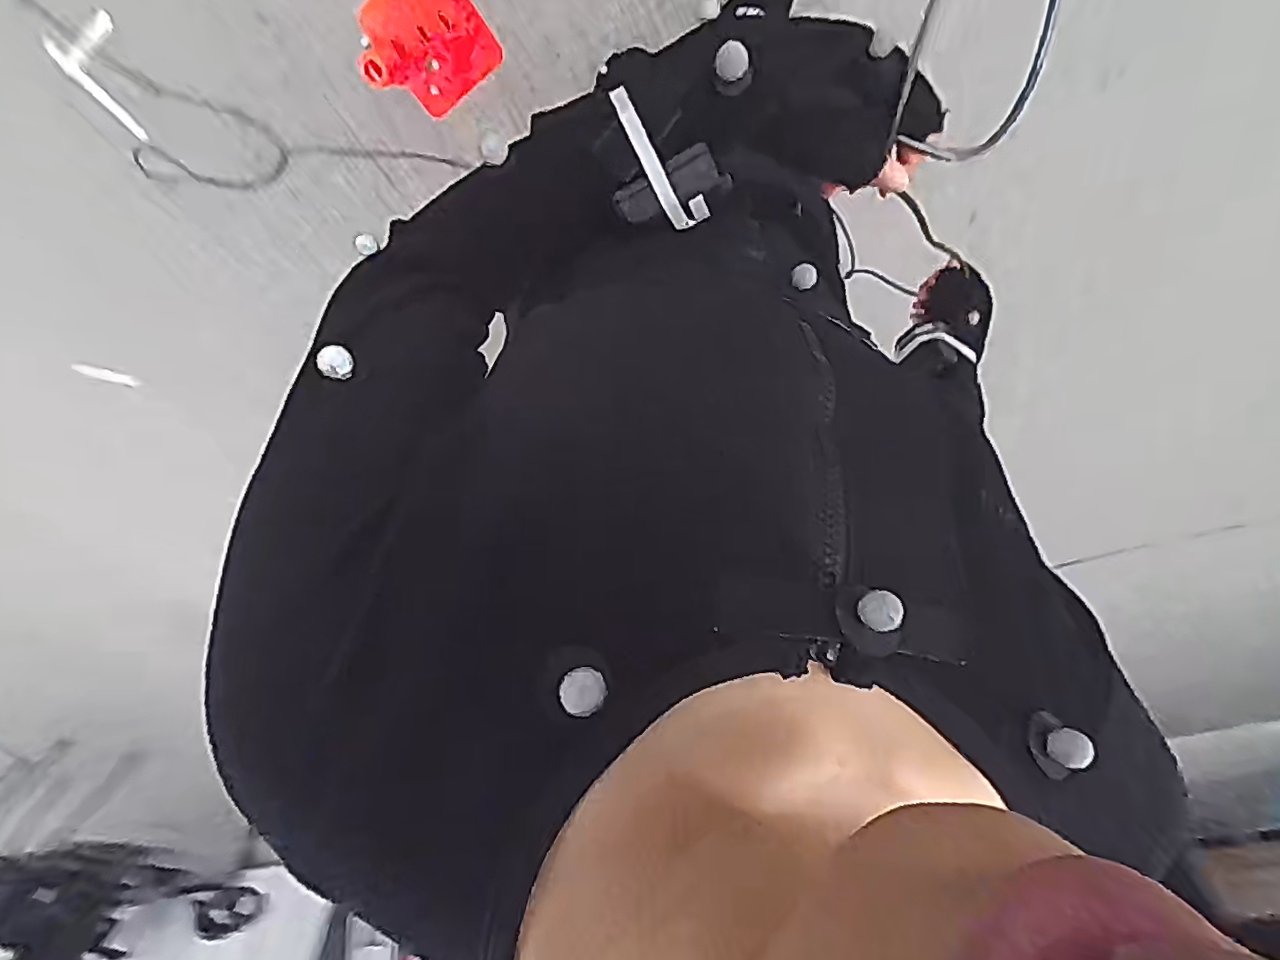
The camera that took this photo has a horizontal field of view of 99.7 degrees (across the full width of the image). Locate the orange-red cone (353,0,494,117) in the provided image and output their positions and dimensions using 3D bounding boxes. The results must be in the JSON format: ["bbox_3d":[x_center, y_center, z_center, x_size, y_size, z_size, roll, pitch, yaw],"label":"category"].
[{"bbox_3d":[-0.393,-0.706,0.891,0.199,0.360,0.198,-25,132,20],"label":"orange-red cone"}]
